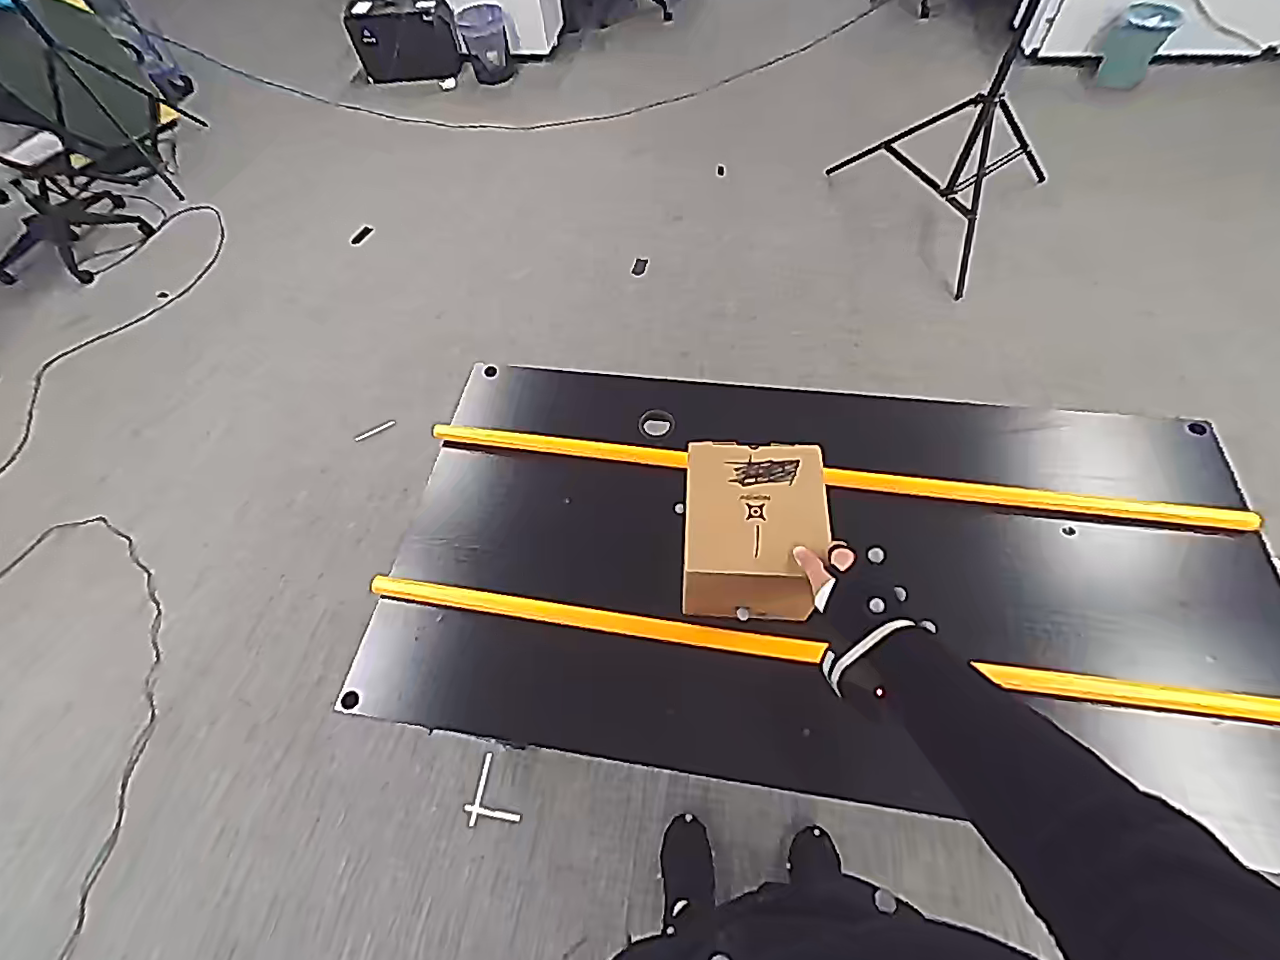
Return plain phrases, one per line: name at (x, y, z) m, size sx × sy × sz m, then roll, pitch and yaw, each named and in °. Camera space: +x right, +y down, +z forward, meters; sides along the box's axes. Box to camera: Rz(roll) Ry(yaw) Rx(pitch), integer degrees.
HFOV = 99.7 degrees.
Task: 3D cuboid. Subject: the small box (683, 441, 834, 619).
small box at (0.144, 0.069, 0.709) m, size 0.168 × 0.176 × 0.179 m, roll 2°, pitch 60°, yaw 6°
